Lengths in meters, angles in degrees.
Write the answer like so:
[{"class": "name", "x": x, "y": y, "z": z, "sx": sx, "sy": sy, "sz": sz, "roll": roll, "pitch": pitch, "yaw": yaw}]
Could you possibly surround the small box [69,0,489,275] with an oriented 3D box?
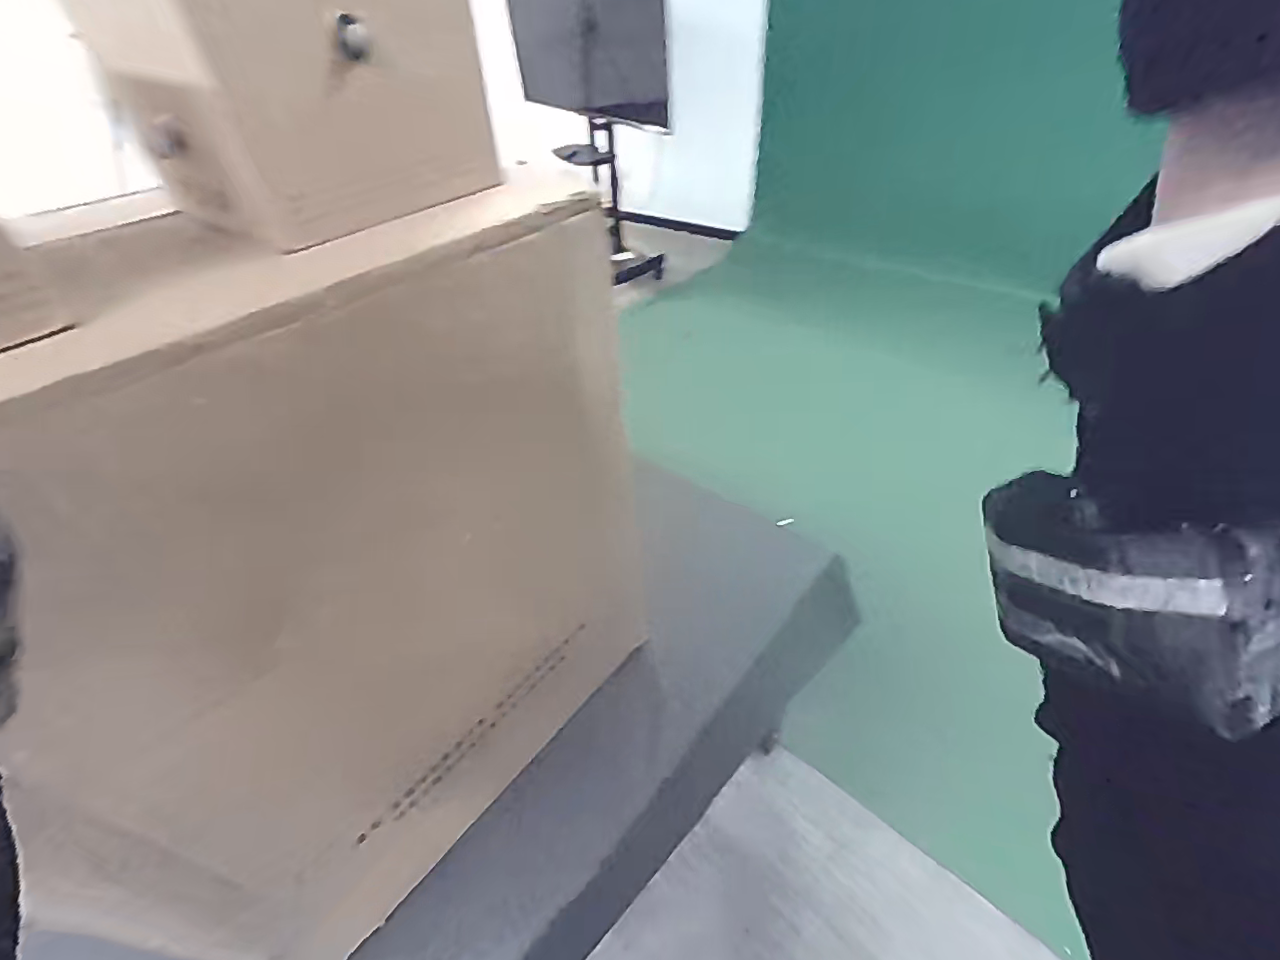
[{"class": "small box", "x": -0.221, "y": -0.259, "z": 0.358, "sx": 0.168, "sy": 0.176, "sz": 0.179, "roll": 25, "pitch": 49, "yaw": 27}]
